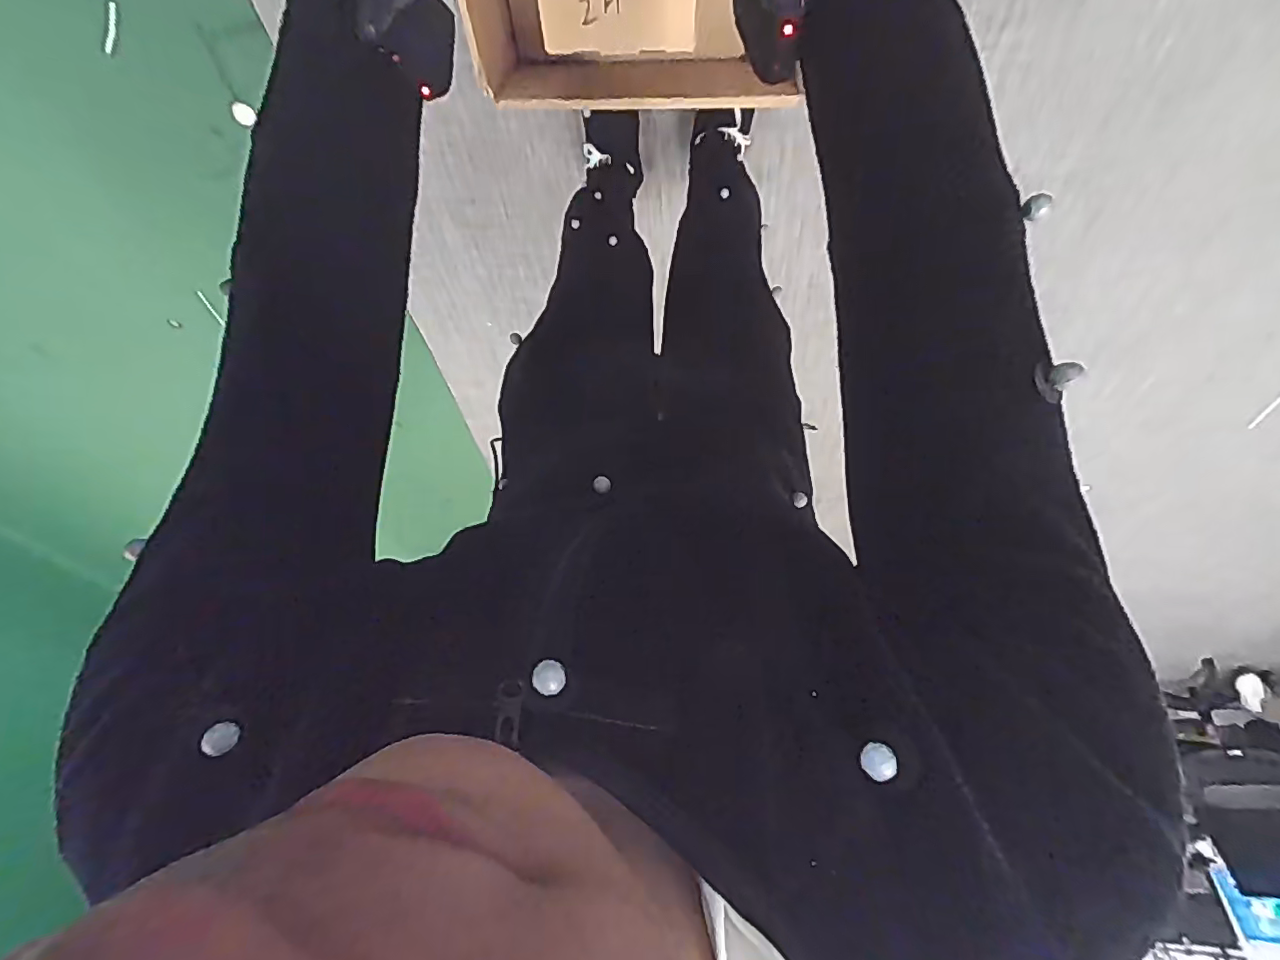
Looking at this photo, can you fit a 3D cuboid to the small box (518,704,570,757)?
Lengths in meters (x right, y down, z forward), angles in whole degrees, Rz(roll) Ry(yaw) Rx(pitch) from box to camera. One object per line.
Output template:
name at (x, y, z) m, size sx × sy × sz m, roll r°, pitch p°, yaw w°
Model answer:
small box at (-0.409, 1.076, 2.322) m, size 0.168 × 0.176 × 0.179 m, roll 1°, pitch 142°, yaw 8°

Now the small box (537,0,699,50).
small box at (-0.019, -0.581, 0.565) m, size 0.168 × 0.176 × 0.179 m, roll 4°, pitch 142°, yaw 6°
